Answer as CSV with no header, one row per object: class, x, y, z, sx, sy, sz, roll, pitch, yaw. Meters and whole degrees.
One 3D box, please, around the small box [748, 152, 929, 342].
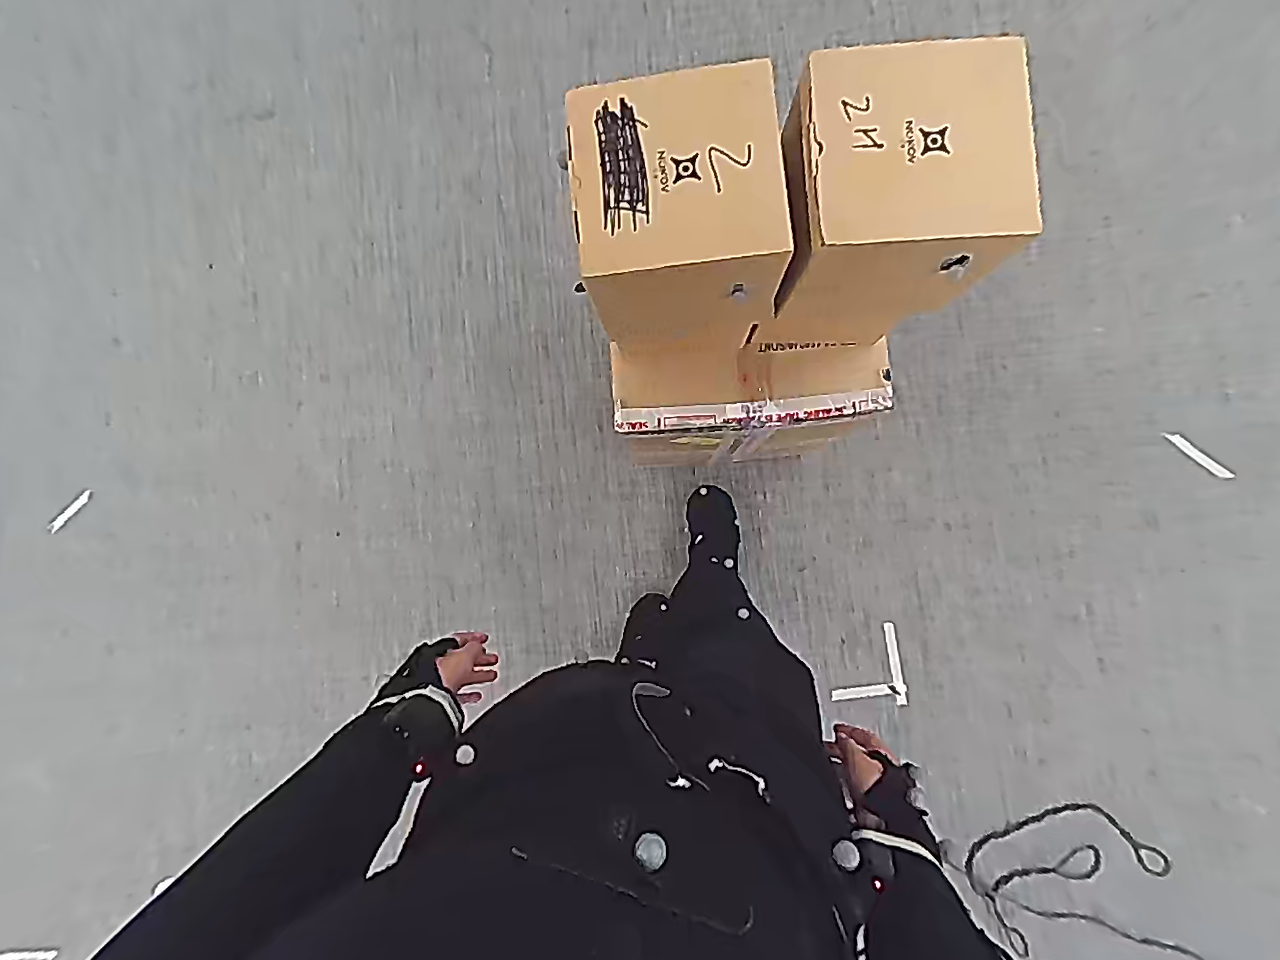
small box,0.232,-0.277,0.676,0.179,0.176,0.168,0,86,2
